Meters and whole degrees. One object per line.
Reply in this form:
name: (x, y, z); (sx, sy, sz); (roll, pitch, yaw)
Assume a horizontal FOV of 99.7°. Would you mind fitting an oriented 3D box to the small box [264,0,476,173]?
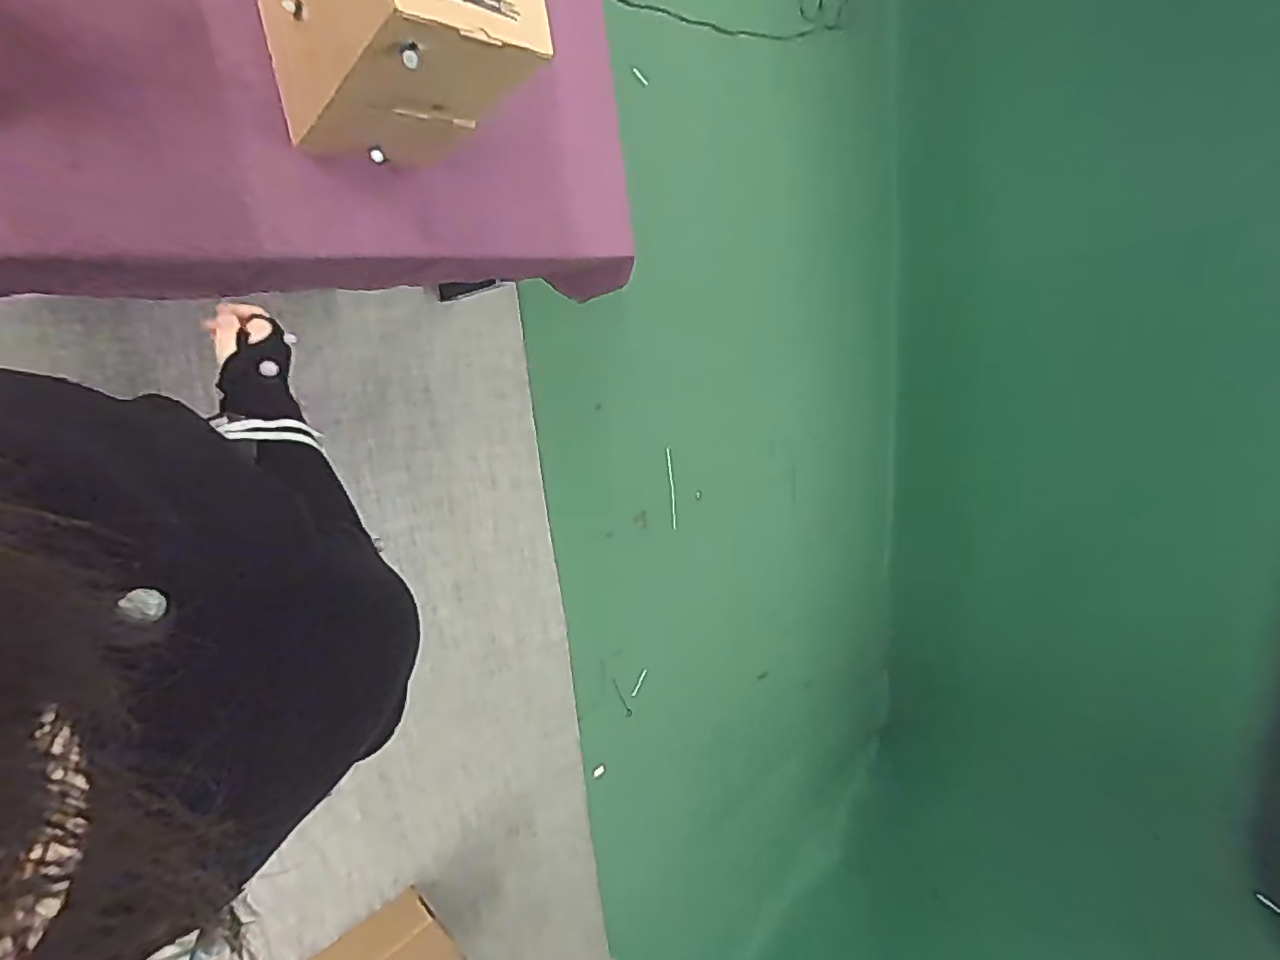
small box: (-0.327, -0.503, 0.654); (0.168, 0.176, 0.179); (-19, 108, -42)
